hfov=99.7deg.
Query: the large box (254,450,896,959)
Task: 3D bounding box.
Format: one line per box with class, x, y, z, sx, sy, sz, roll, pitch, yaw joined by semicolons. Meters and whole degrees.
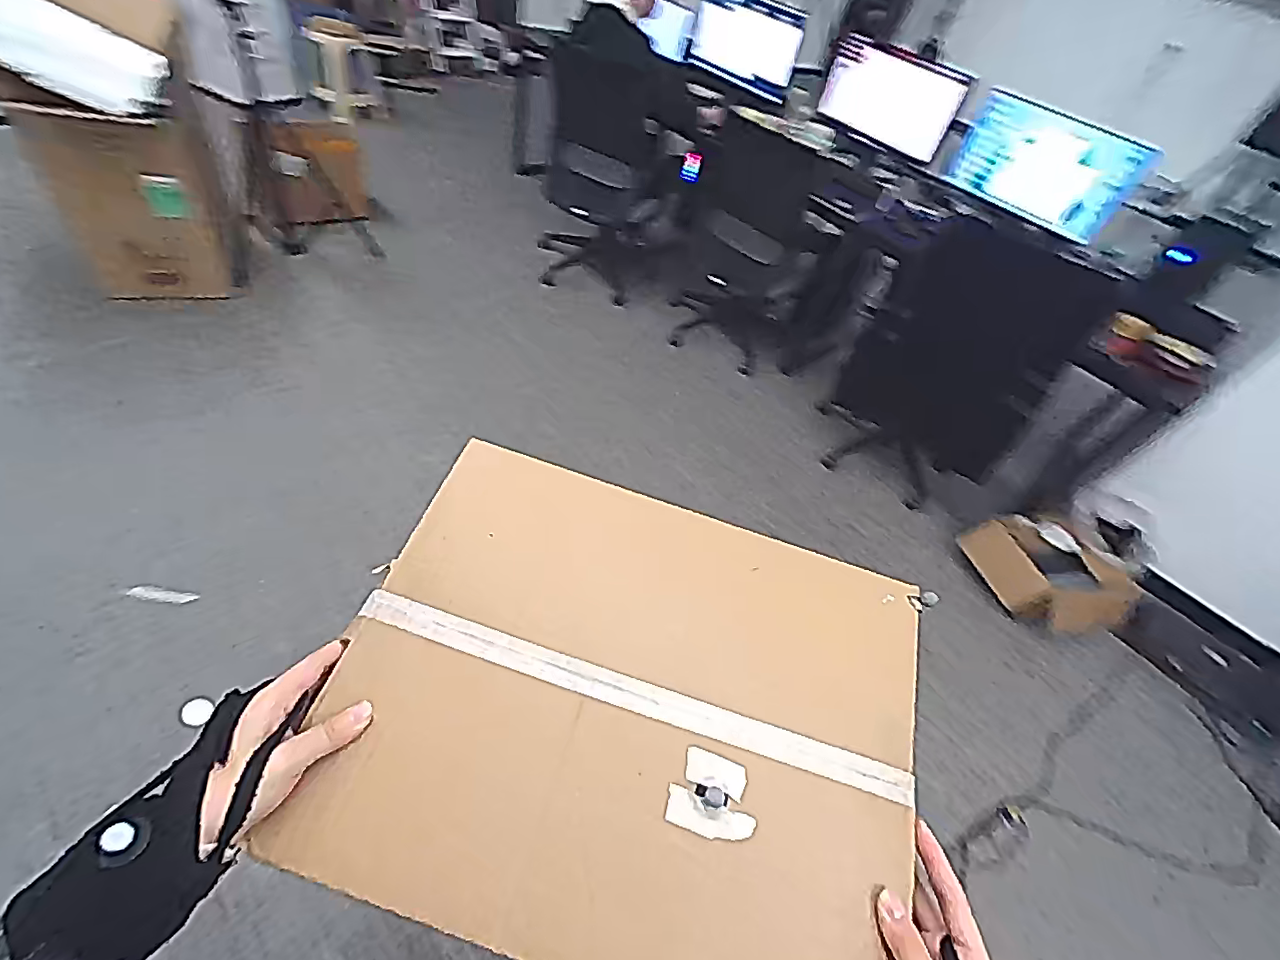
large box;-0.028;0.226;0.524;0.408;0.320;0.320;18;60;2
